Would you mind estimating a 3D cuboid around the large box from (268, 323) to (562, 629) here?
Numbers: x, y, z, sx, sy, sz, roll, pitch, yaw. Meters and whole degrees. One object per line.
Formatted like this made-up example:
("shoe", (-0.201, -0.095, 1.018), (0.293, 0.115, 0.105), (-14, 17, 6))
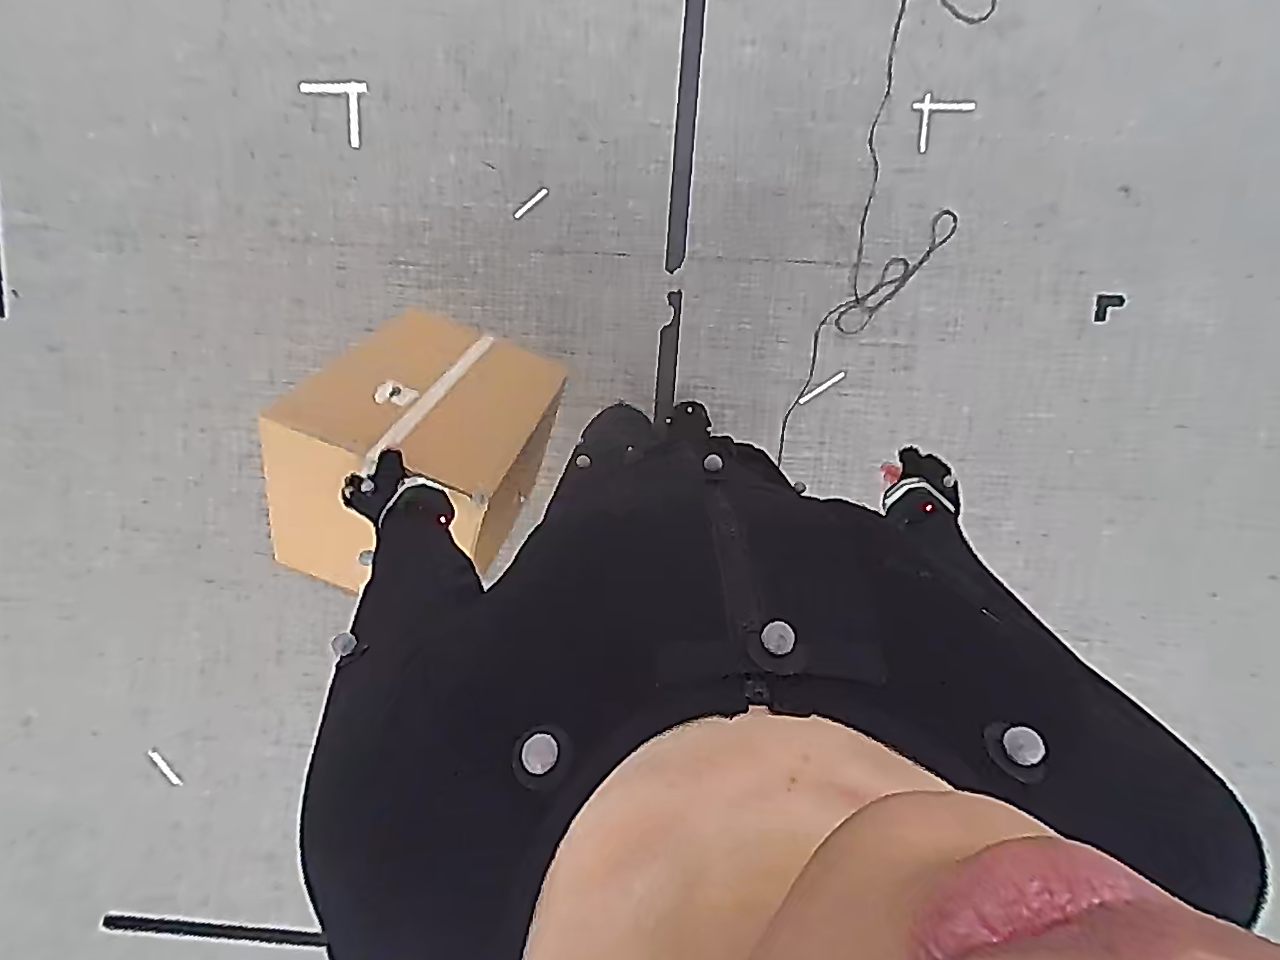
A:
("large box", (-0.370, -0.021, 0.971), (0.320, 0.408, 0.320), (20, 128, -3))
